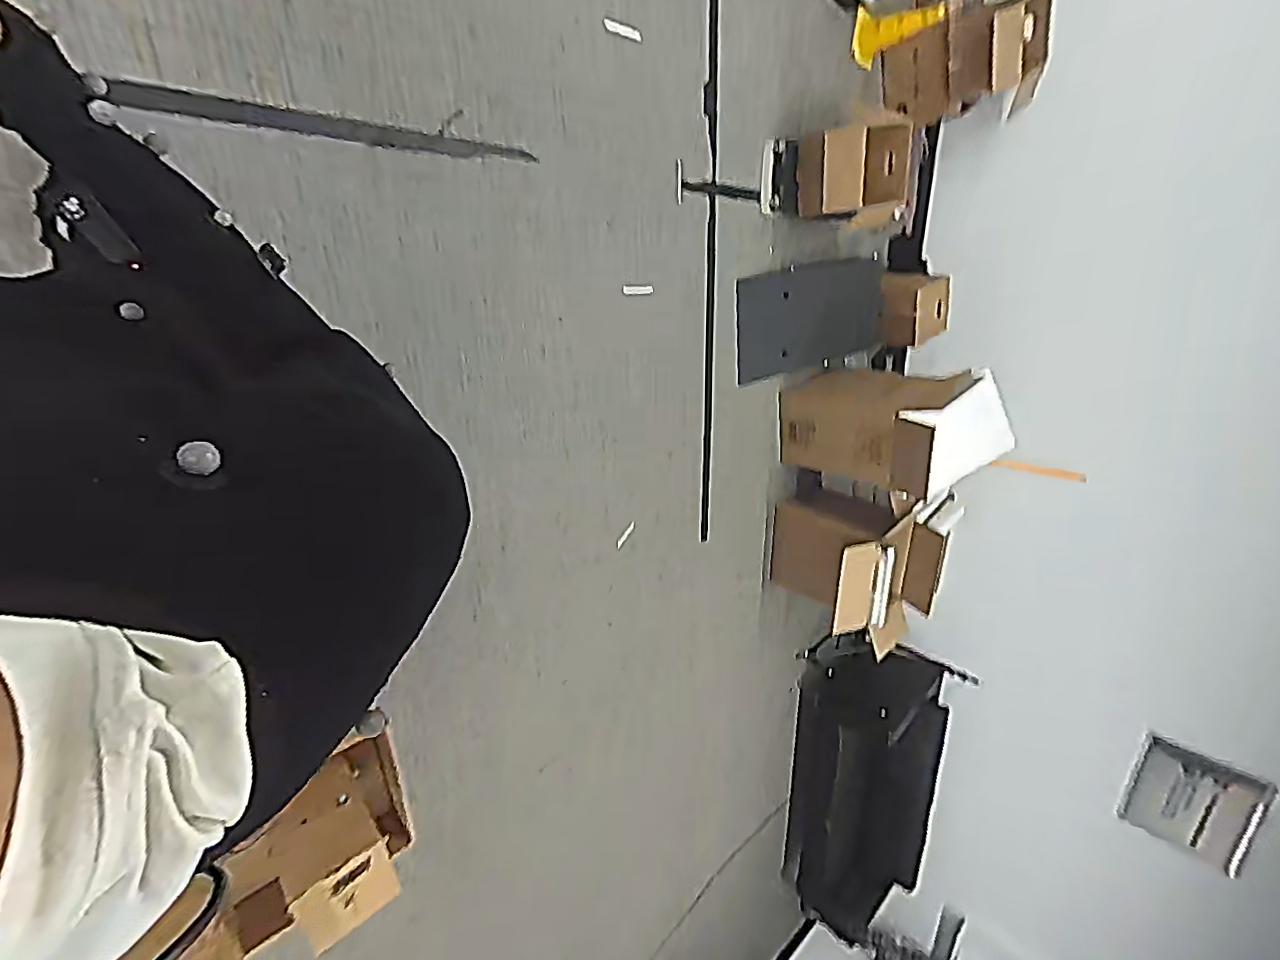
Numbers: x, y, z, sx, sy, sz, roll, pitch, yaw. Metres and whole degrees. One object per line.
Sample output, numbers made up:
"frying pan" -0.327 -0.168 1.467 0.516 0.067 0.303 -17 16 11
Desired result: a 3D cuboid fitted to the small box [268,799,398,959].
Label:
"small box" -0.612 0.782 1.079 0.168 0.176 0.179 -23 121 -37
